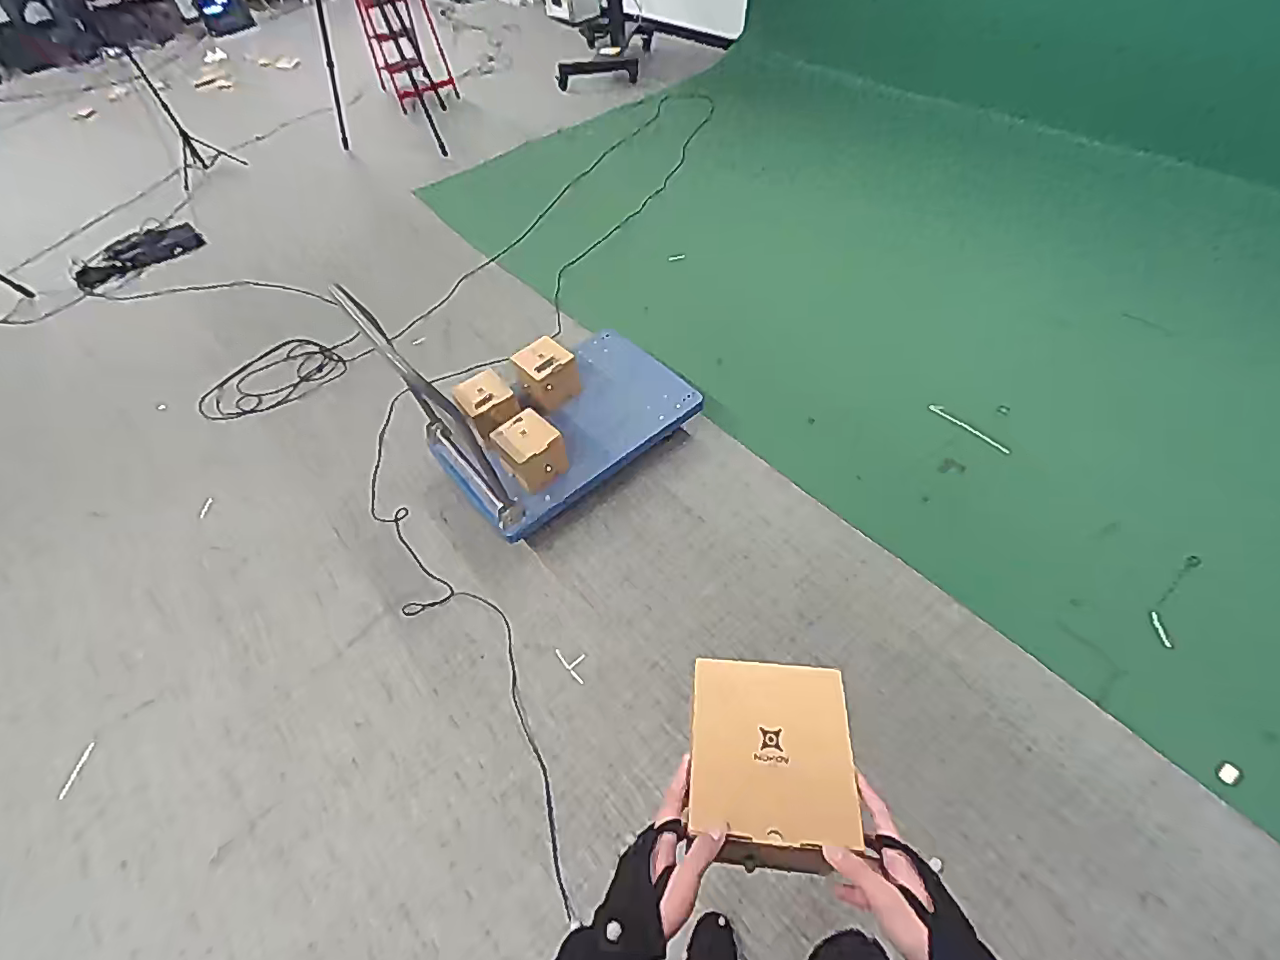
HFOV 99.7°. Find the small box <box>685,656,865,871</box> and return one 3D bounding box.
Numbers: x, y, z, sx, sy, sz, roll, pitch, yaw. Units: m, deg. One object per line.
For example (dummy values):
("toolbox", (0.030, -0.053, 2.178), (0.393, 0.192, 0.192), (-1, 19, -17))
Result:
("small box", (0.140, 0.326, 0.621), (0.168, 0.176, 0.179), (3, 50, 6))

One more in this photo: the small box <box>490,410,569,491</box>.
("small box", (-0.352, -0.087, 1.757), (0.168, 0.176, 0.179), (-38, 60, -22))

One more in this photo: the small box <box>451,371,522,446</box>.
("small box", (-0.523, -0.241, 1.884), (0.168, 0.176, 0.179), (-34, 58, -19))
